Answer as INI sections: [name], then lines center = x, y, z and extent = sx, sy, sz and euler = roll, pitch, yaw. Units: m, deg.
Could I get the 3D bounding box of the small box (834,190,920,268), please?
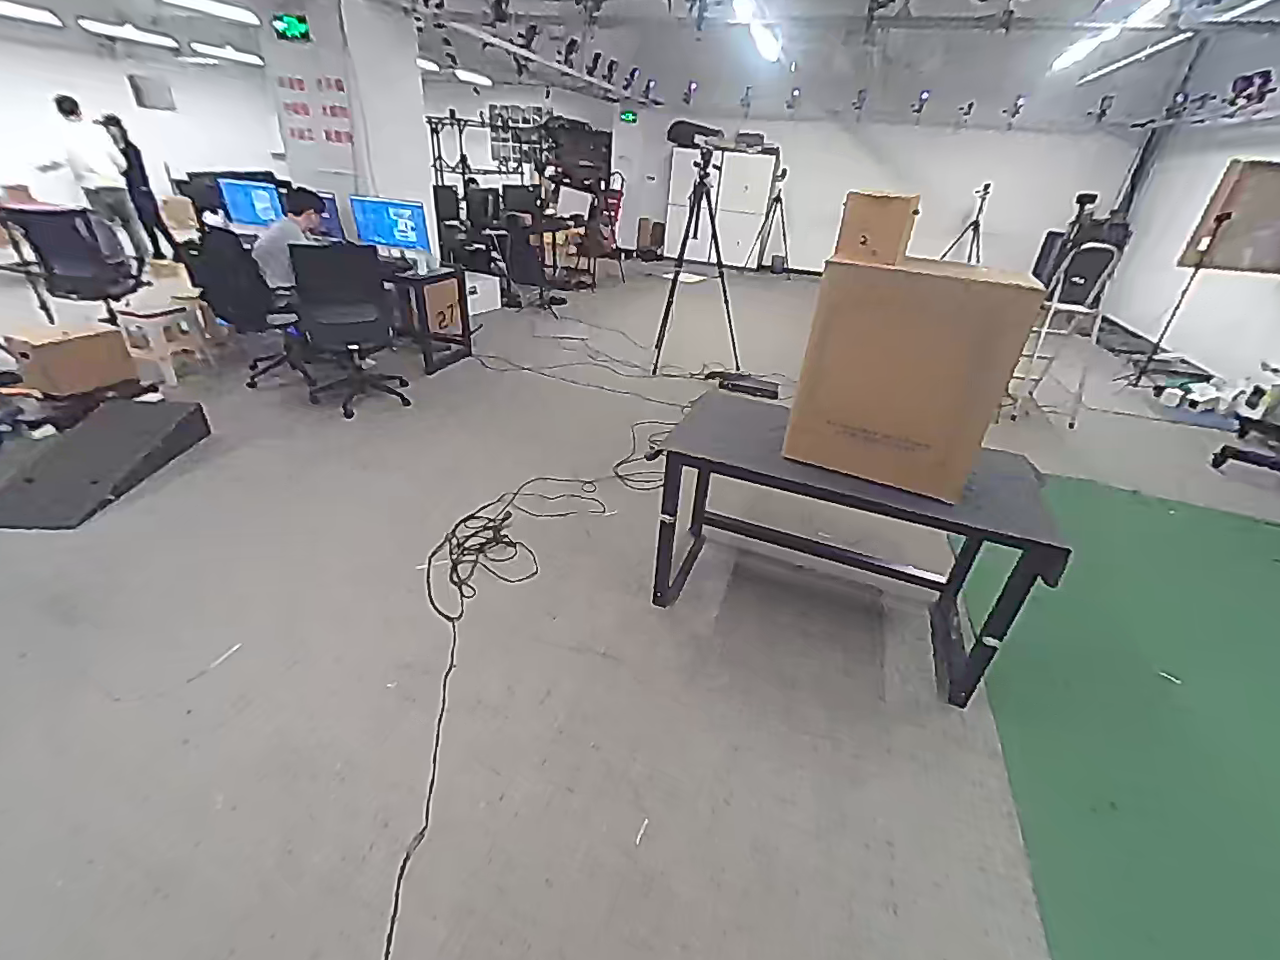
[small box]
center = 0.657, -0.703, 1.507
extent = 0.168, 0.176, 0.179
euler = 20, 36, 24
